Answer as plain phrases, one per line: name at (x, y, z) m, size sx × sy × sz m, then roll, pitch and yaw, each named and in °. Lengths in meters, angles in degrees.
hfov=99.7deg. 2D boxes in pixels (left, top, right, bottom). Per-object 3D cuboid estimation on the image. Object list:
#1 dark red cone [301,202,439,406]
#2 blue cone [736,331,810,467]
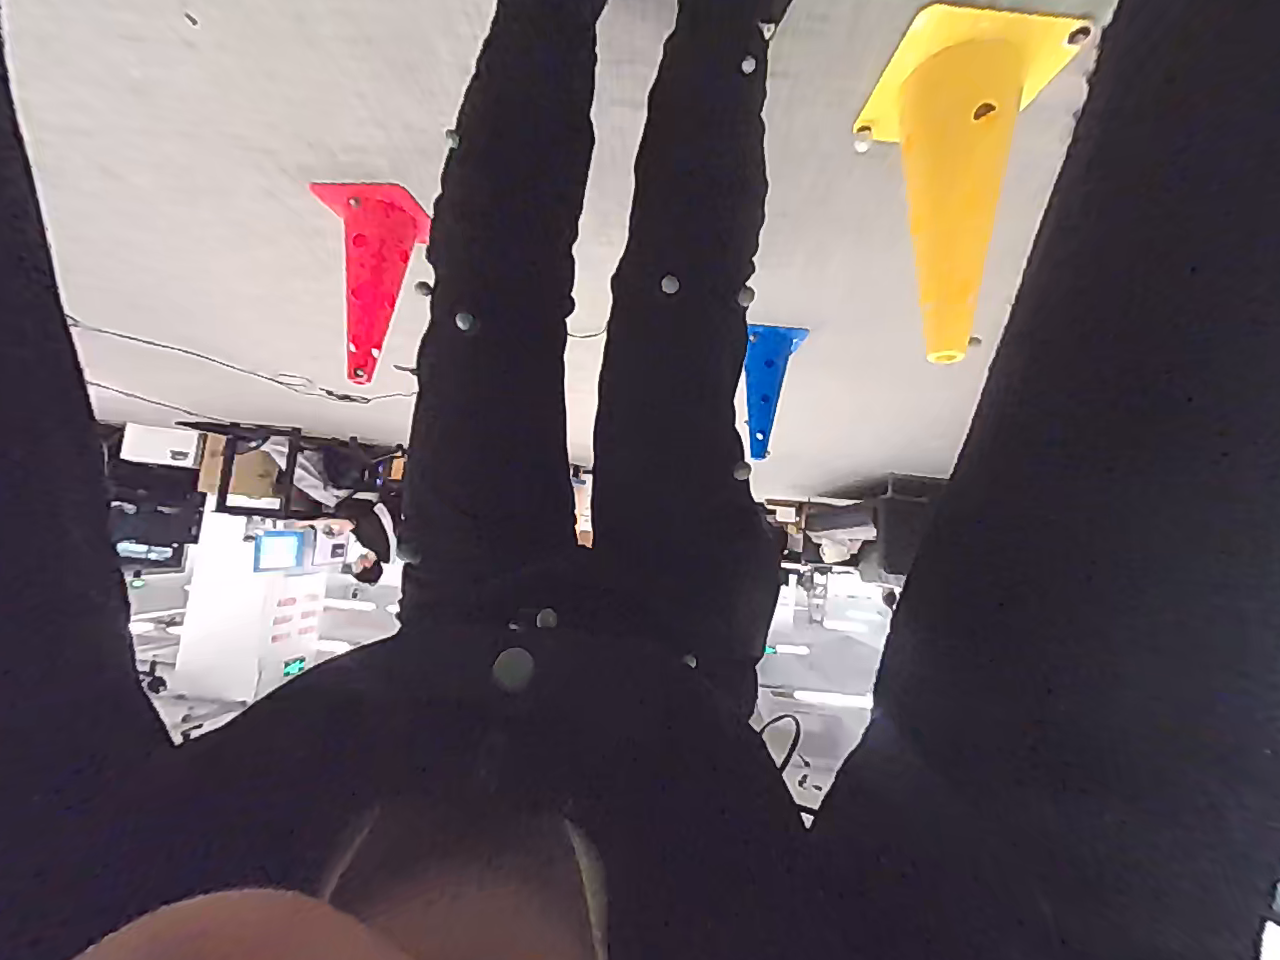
dark red cone at (-0.558, -0.338, 1.073) m, size 0.202 × 0.394 × 0.201 m, roll 5°, pitch 170°, yaw 9°
blue cone at (0.363, -0.228, 1.541) m, size 0.192 × 0.380 × 0.193 m, roll 5°, pitch 174°, yaw 1°
